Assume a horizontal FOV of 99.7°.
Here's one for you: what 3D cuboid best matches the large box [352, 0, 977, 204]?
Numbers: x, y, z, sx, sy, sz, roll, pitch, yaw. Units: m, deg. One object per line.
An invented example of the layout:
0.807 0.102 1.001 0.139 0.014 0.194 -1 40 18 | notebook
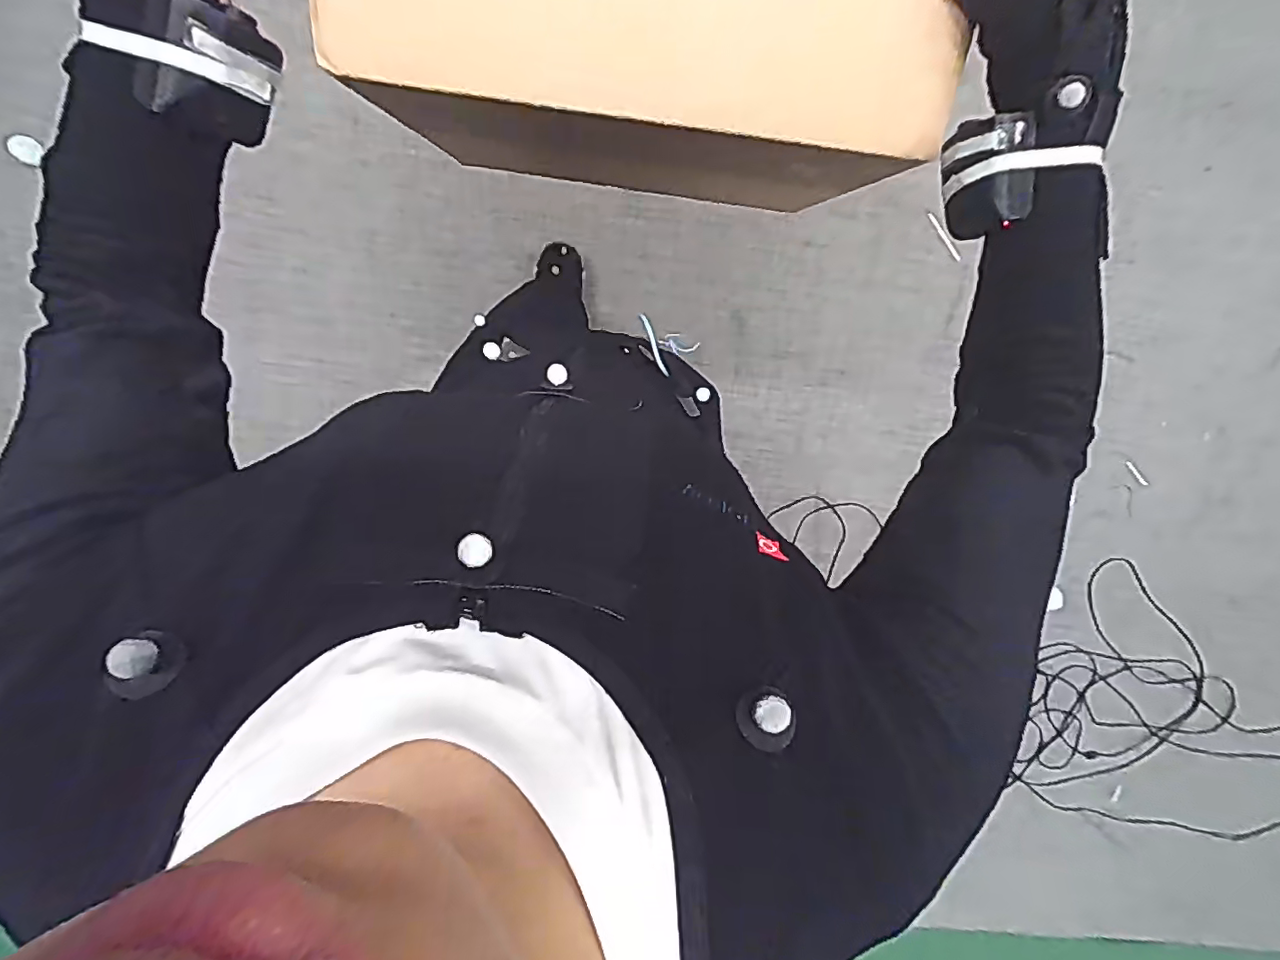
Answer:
0.021 -0.440 0.451 0.408 0.320 0.320 5 111 -5 | large box
